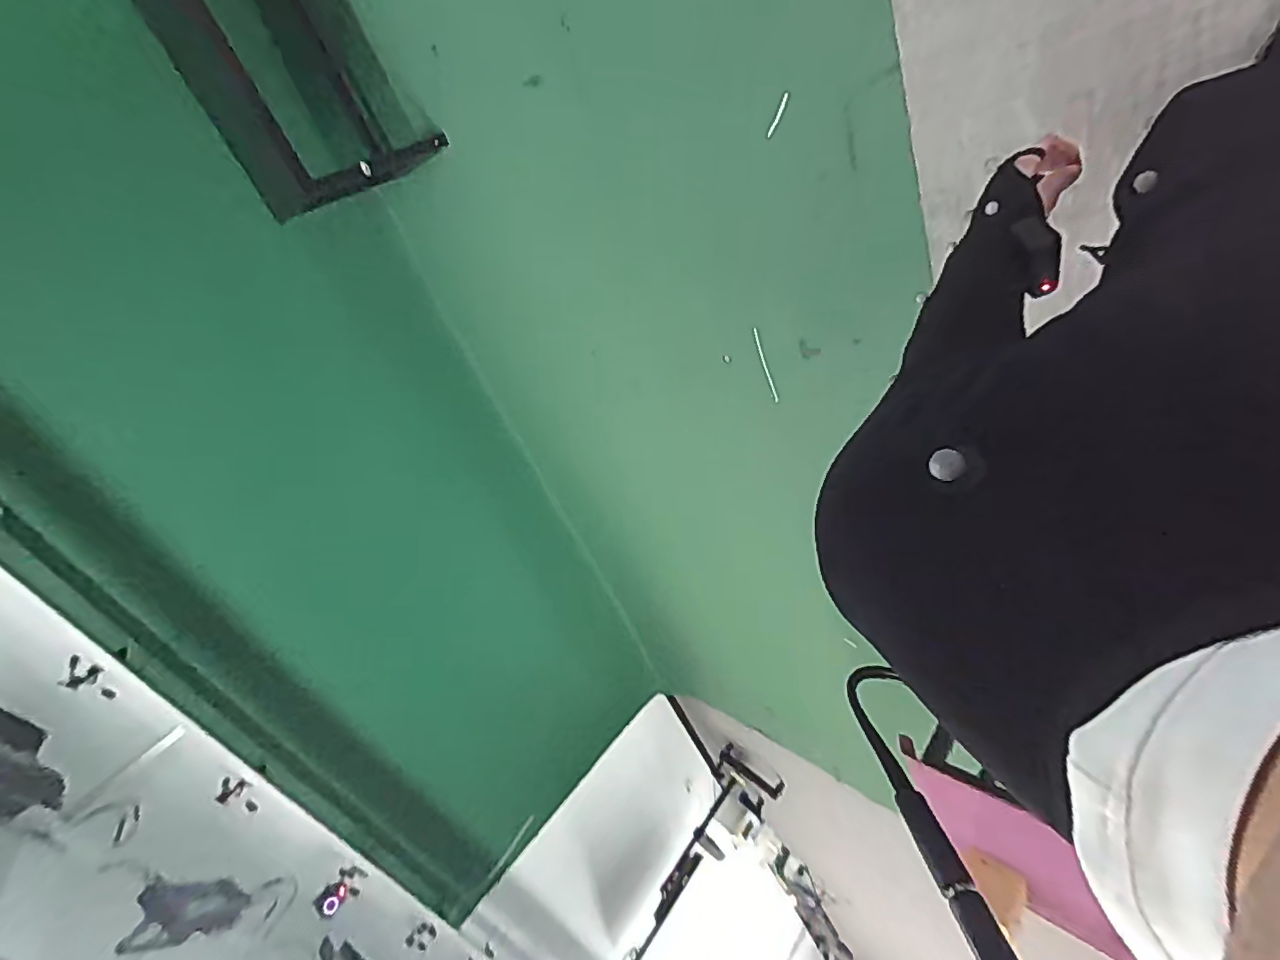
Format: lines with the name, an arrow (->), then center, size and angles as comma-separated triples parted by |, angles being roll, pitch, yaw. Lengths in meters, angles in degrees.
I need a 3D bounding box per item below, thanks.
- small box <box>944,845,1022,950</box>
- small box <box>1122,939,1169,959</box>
small box -> 1.092, 1.317, 1.715 | 0.168, 0.176, 0.179 | 10, 133, 47
small box -> 1.364, 1.369, 1.411 | 0.168, 0.176, 0.179 | 6, 130, 50
